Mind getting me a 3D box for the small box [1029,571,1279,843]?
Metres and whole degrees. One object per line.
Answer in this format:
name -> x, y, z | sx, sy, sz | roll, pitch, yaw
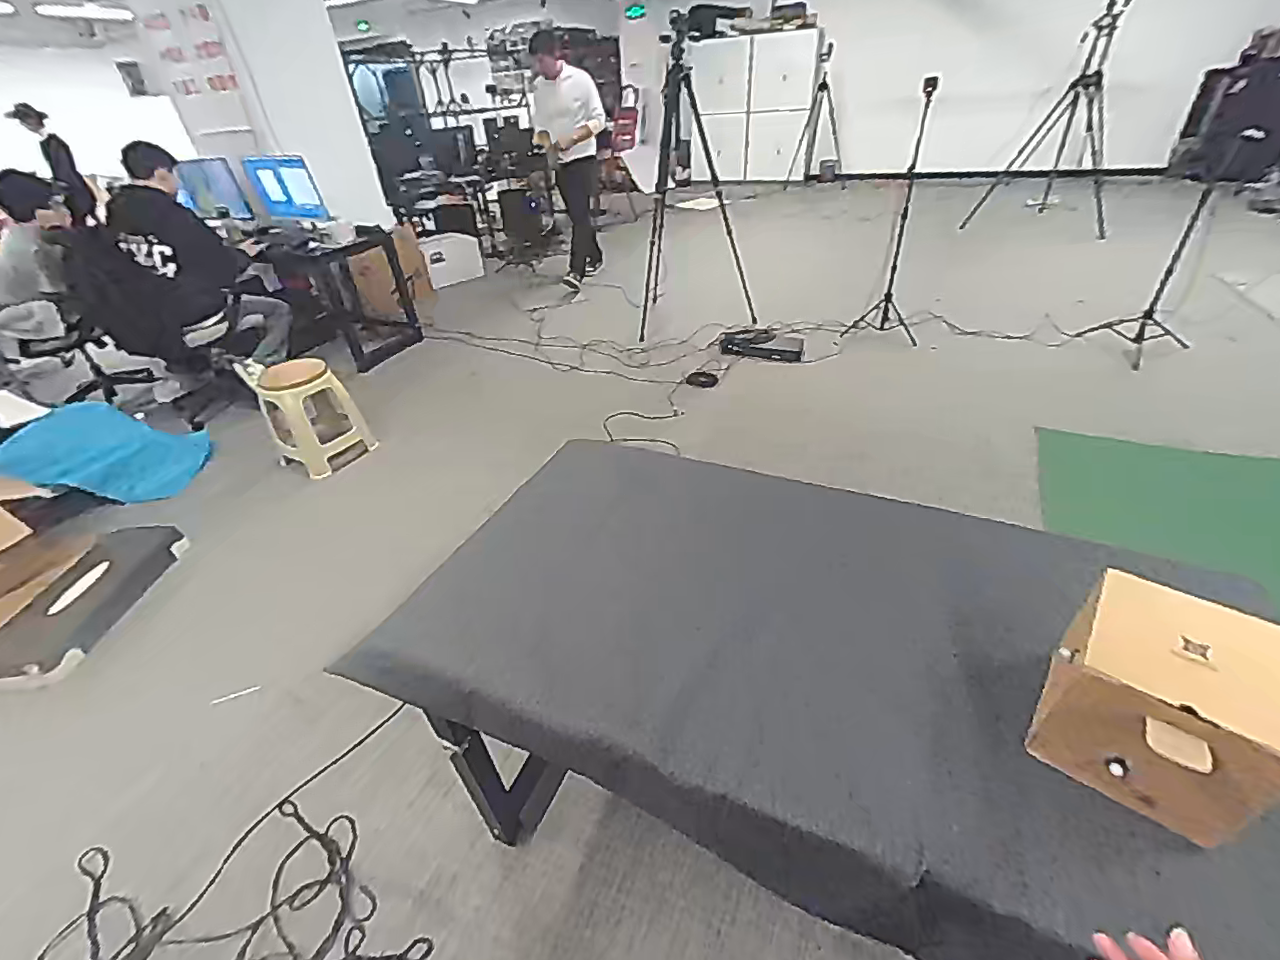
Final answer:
small box -> 0.561, 0.240, 0.591 | 0.168, 0.176, 0.179 | 24, 45, 33
